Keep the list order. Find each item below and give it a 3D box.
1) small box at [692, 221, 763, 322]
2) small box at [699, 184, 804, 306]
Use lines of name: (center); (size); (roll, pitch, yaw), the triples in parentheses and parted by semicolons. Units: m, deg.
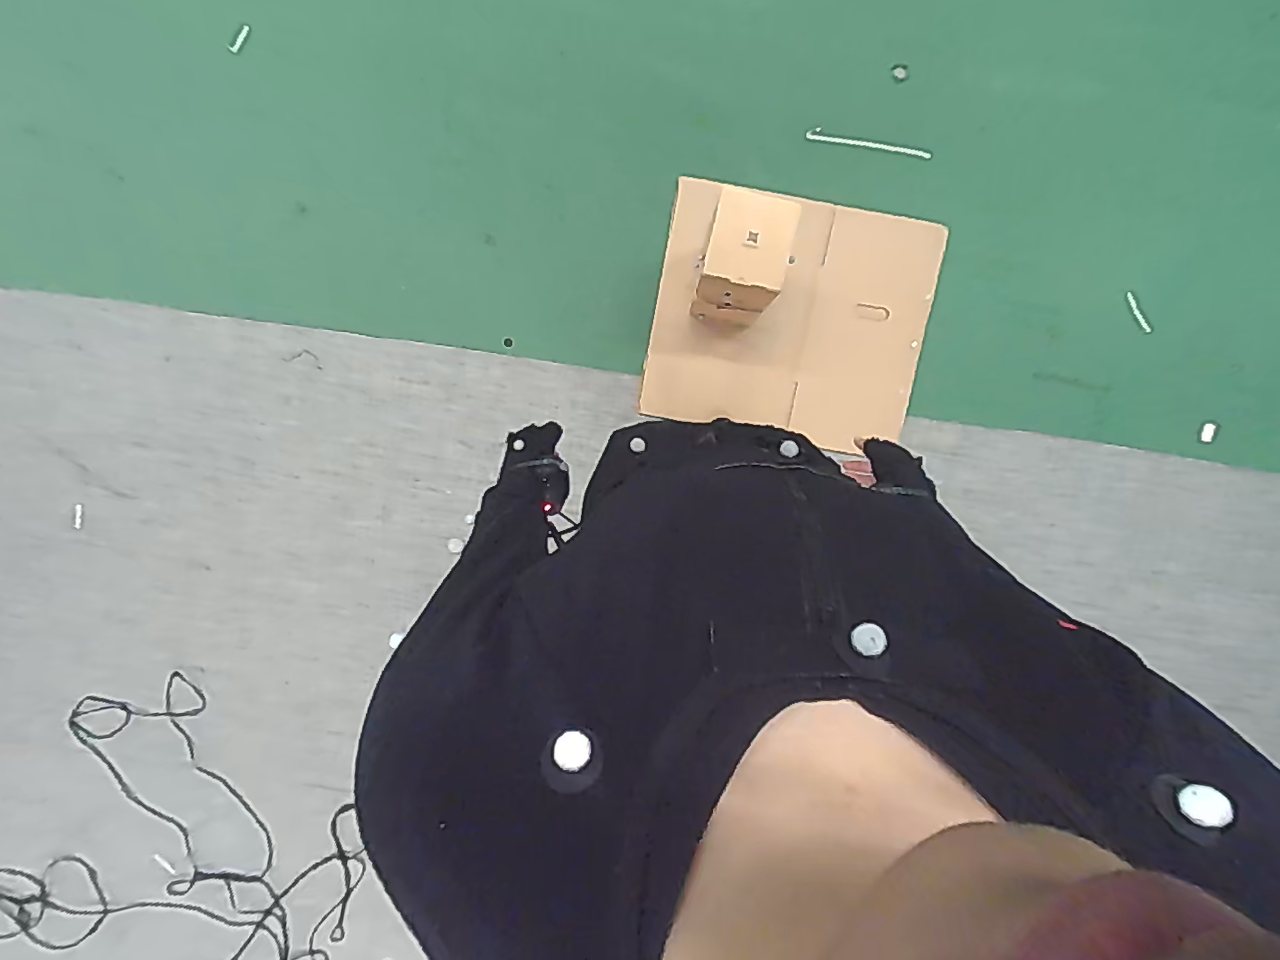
small box: (0.224, -0.494, 1.309); (0.168, 0.176, 0.179); (12, 96, 1)
small box: (0.227, -0.487, 1.146); (0.168, 0.176, 0.179); (13, 97, 0)
